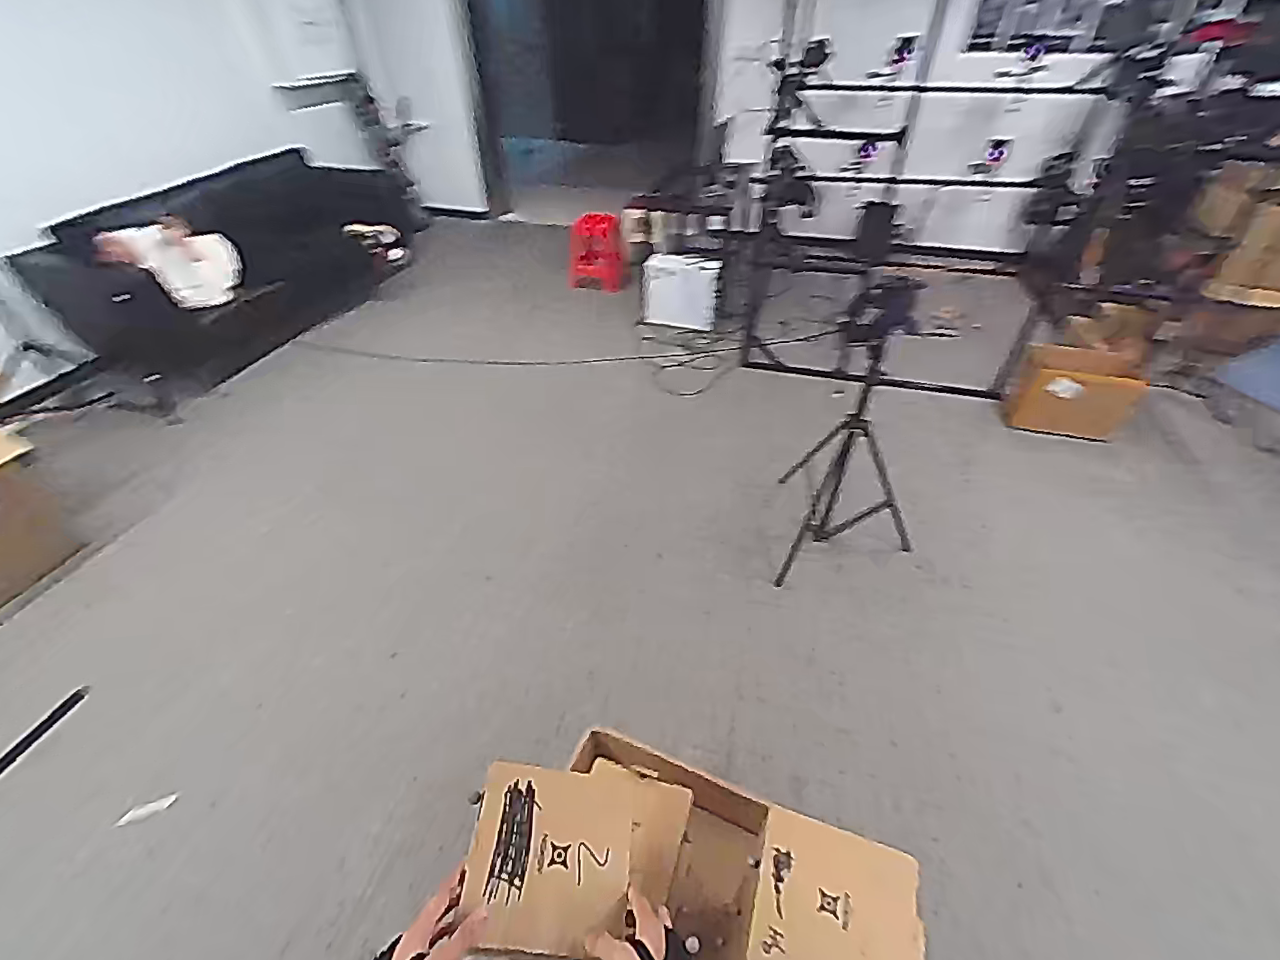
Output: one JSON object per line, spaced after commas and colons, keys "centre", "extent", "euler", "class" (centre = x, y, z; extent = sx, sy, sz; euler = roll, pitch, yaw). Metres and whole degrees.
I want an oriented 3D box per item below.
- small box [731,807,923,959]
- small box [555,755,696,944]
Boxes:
{"centre": [0.219, 0.539, 0.650], "extent": [0.179, 0.176, 0.168], "euler": [15, 42, 15], "class": "small box"}
{"centre": [-0.017, 0.579, 0.852], "extent": [0.168, 0.176, 0.179], "euler": [12, 42, 16], "class": "small box"}
